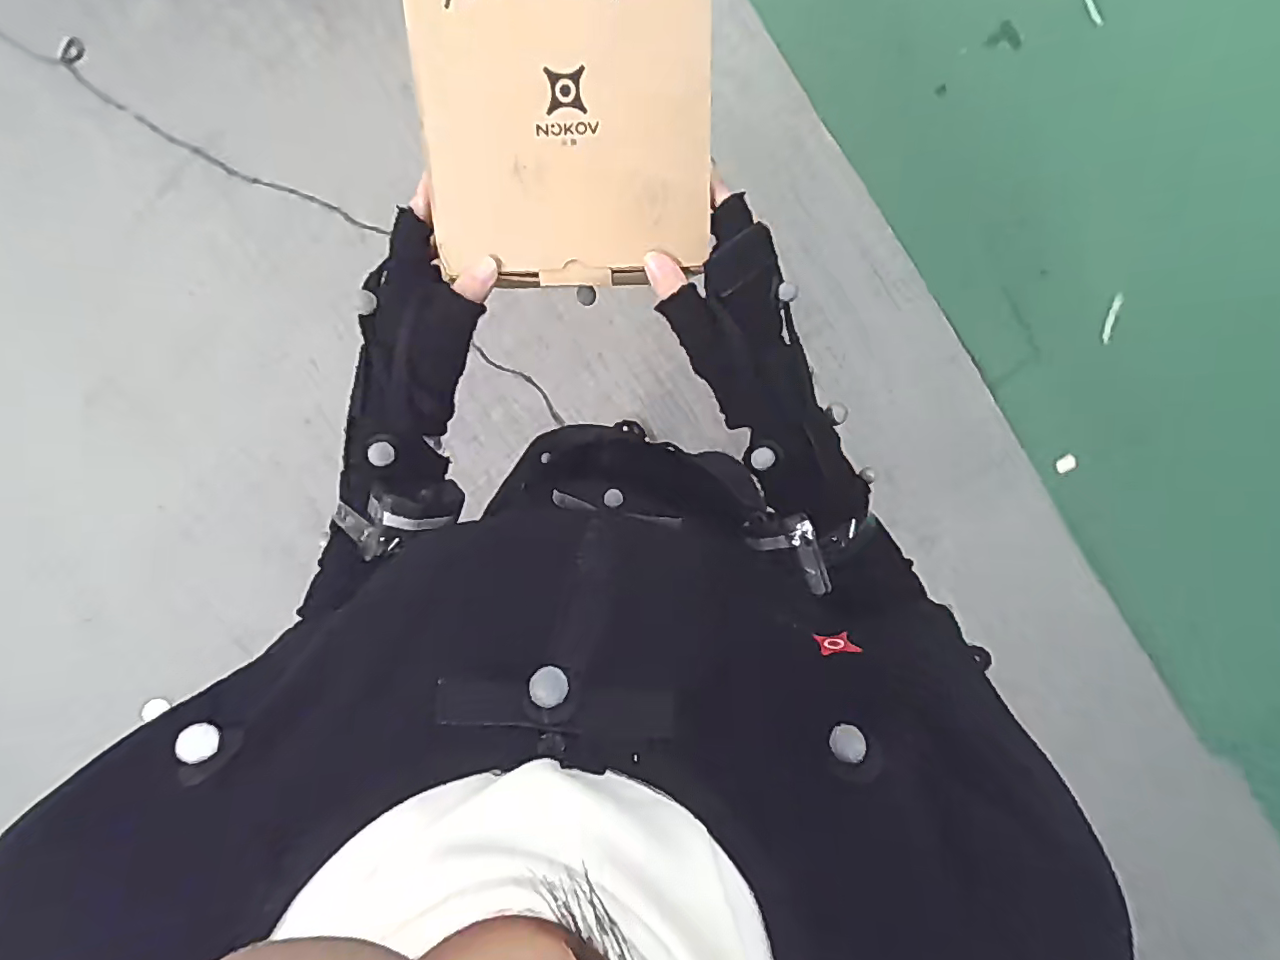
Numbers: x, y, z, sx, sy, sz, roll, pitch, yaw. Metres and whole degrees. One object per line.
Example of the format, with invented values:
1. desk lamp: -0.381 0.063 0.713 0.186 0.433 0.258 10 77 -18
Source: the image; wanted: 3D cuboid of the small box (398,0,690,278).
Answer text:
1. small box: -0.052 -0.248 0.403 0.168 0.176 0.179 -5 108 2
